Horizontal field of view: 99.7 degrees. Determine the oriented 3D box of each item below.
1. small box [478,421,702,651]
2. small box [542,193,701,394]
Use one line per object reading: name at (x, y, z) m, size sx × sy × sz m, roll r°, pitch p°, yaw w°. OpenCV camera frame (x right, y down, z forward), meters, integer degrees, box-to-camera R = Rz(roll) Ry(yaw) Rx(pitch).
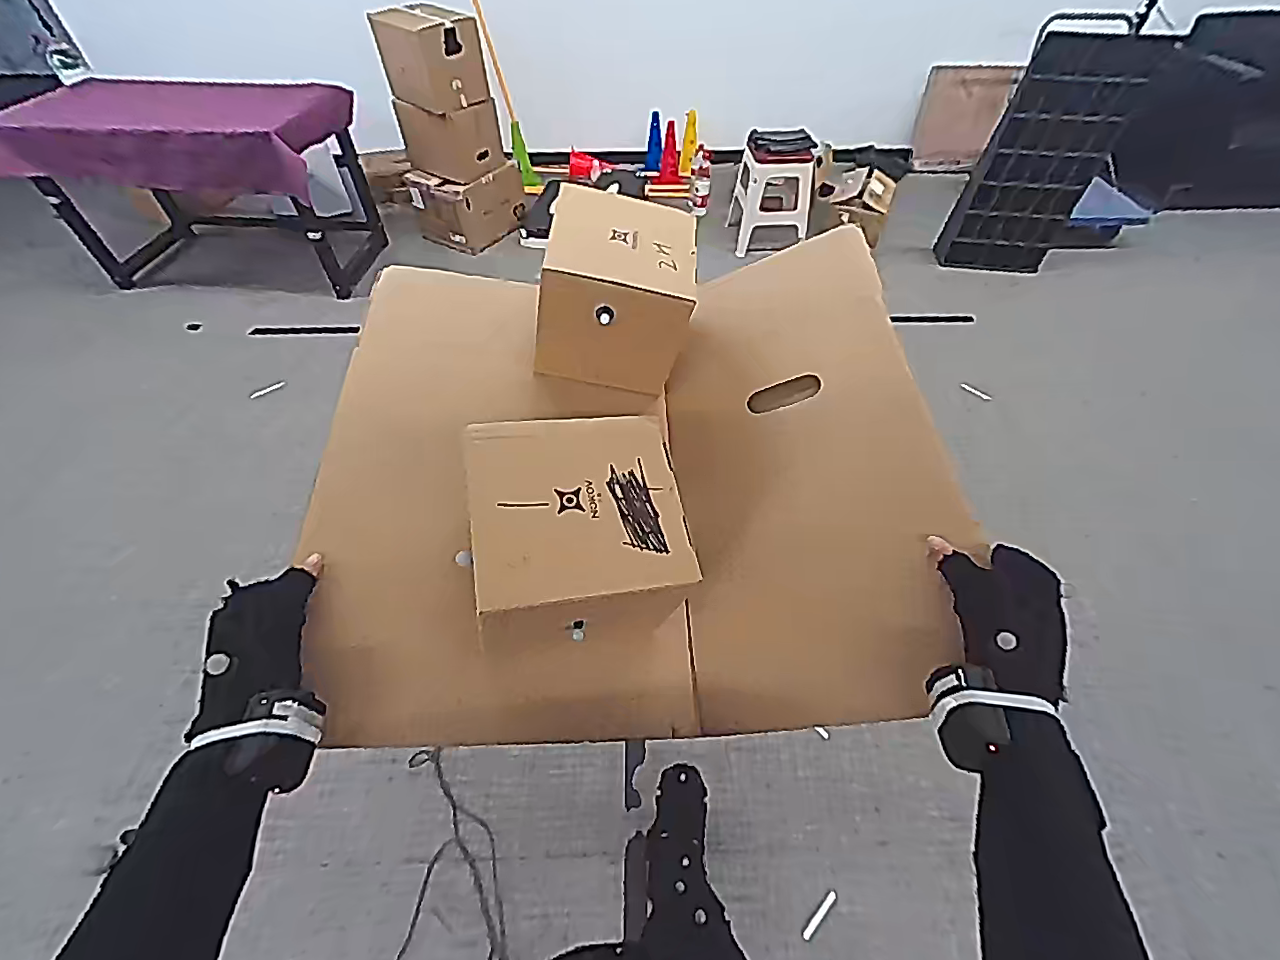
small box at (-0.063, 0.058, 0.528) m, size 0.179 × 0.176 × 0.168 m, roll -4°, pitch 61°, yaw -16°
small box at (-0.029, -0.236, 0.713) m, size 0.179 × 0.176 × 0.168 m, roll 11°, pitch 58°, yaw -9°
